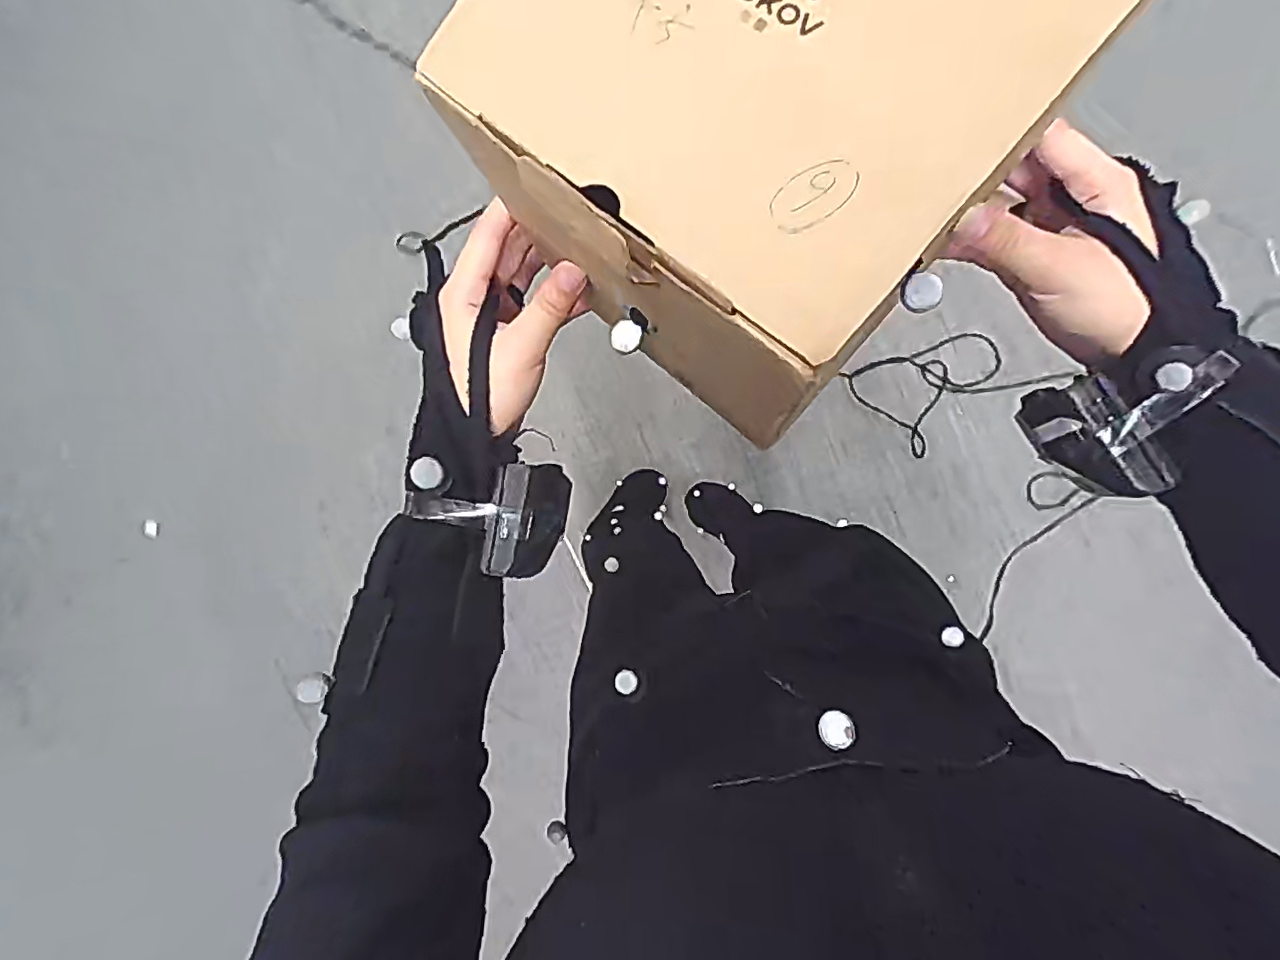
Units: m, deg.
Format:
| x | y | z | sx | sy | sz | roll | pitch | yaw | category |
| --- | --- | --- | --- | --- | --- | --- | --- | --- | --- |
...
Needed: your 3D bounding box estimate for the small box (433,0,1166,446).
| x | y | z | sx | sy | sz | roll | pitch | yaw | category |
| --- | --- | --- | --- | --- | --- | --- | --- | --- | --- |
| 0.057 | -0.134 | 0.242 | 0.168 | 0.176 | 0.179 | 42 | 94 | 10 | small box |
